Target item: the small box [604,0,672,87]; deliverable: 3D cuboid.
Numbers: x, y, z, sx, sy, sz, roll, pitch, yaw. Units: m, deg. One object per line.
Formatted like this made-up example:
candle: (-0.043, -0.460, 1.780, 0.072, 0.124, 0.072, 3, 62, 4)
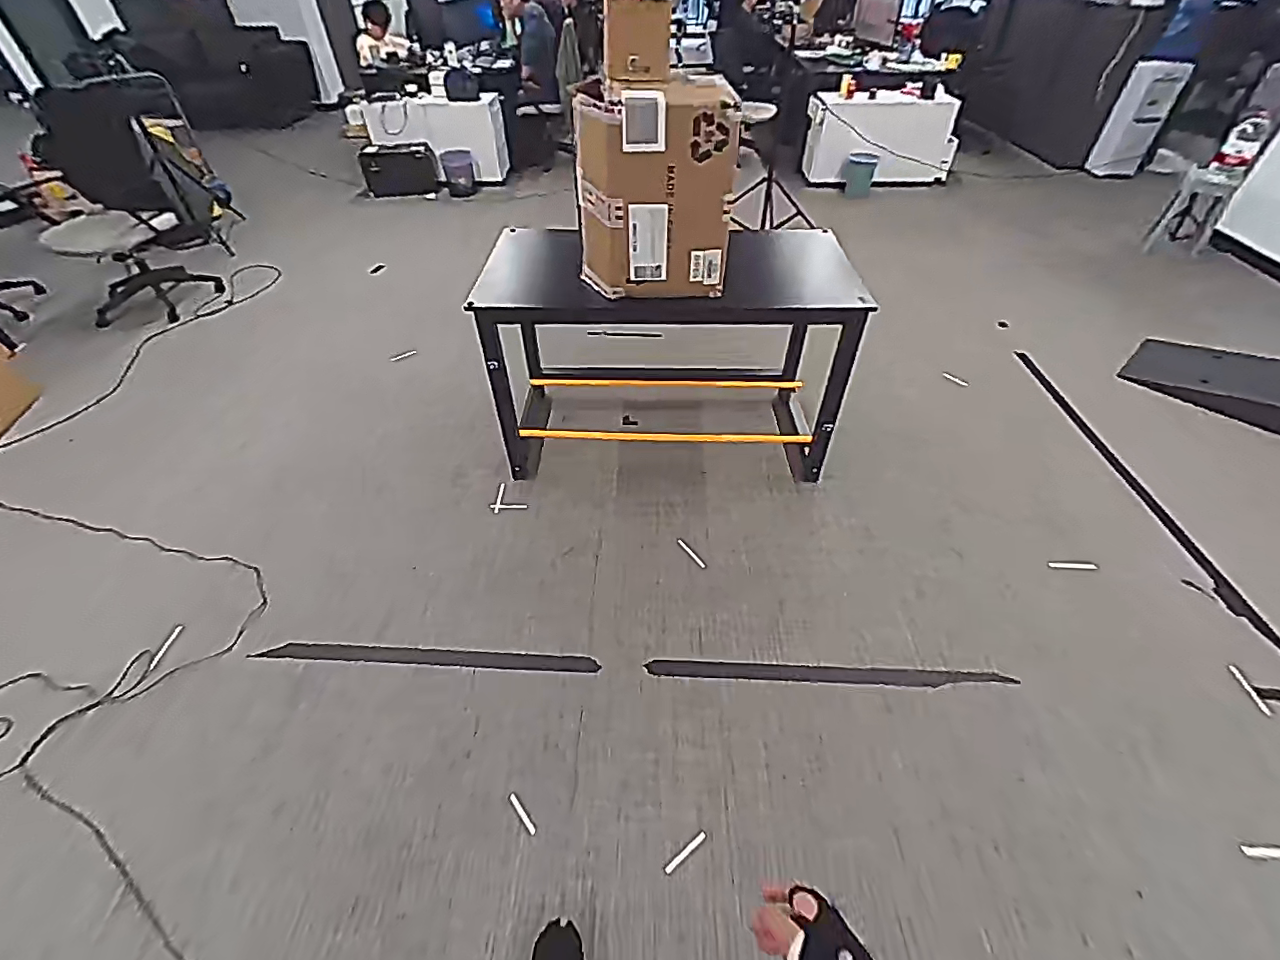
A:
small box: (-0.010, -1.164, 1.441, 0.168, 0.176, 0.179, -3, 43, -4)
